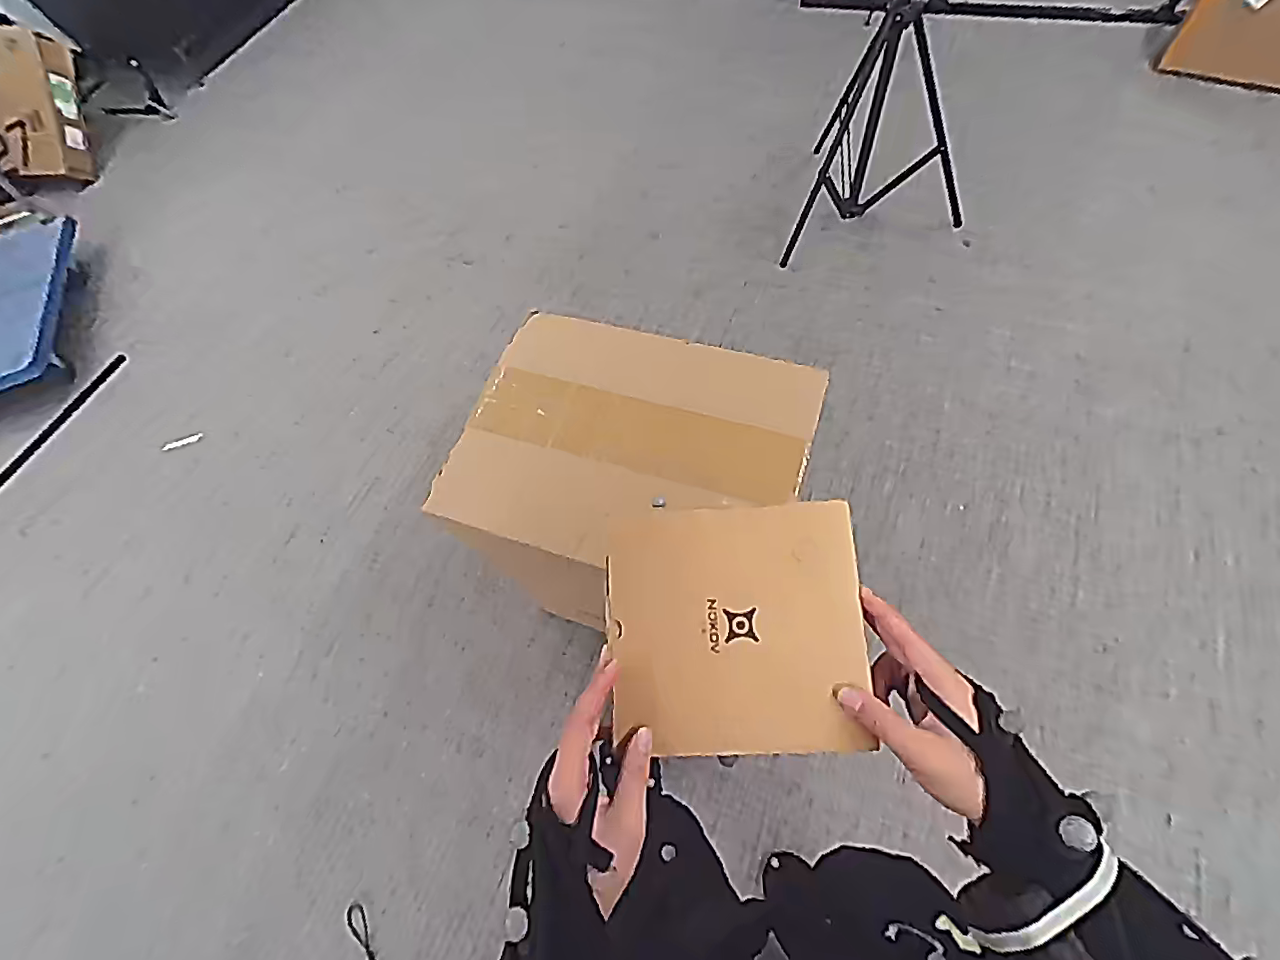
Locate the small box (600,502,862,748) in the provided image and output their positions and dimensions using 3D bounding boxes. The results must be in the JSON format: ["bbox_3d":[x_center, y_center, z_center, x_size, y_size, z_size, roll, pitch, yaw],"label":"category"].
[{"bbox_3d":[0.063,0.112,0.451,0.179,0.176,0.168,-2,78,4],"label":"small box"}]
